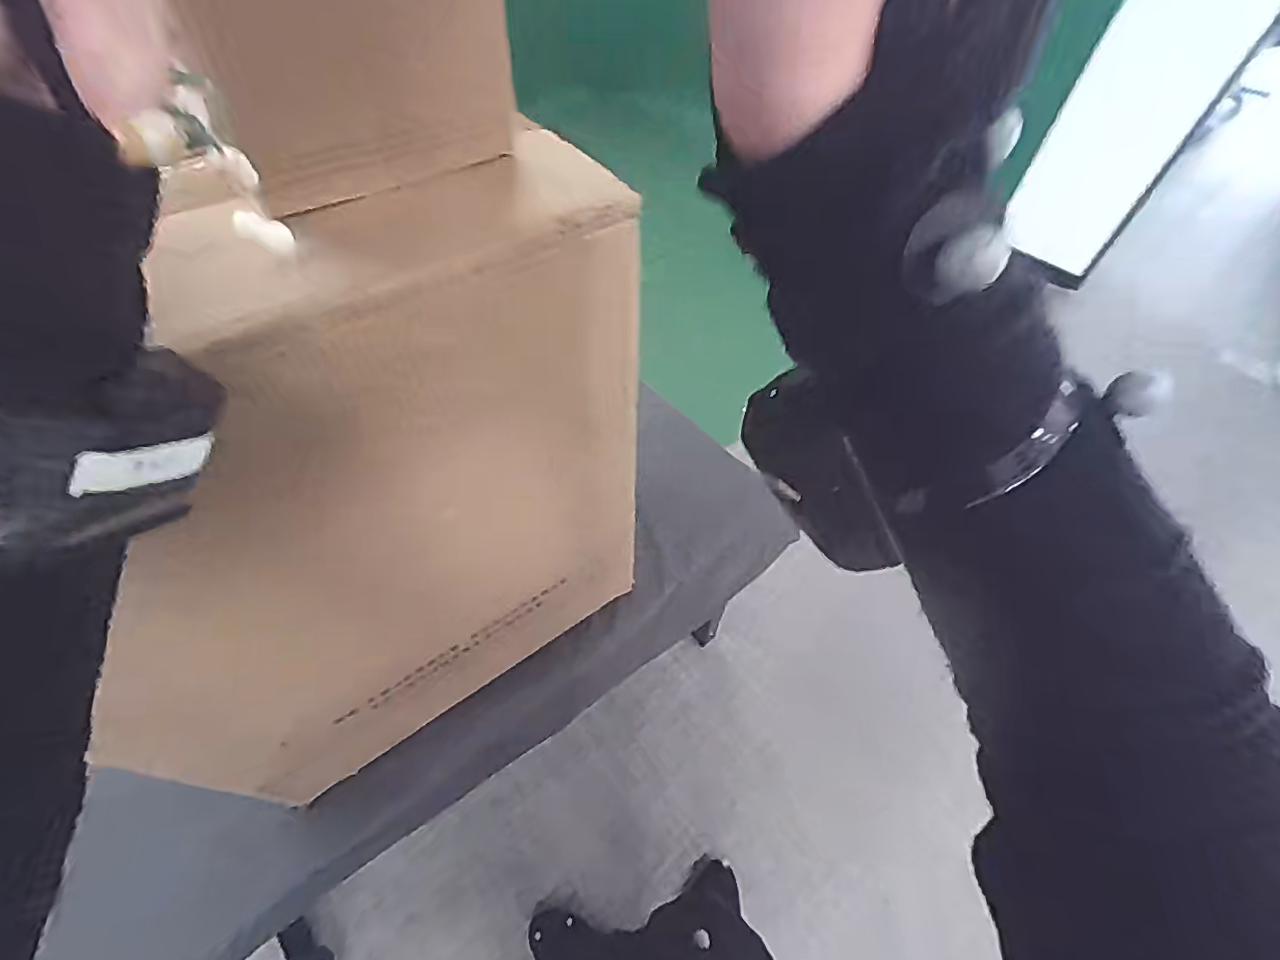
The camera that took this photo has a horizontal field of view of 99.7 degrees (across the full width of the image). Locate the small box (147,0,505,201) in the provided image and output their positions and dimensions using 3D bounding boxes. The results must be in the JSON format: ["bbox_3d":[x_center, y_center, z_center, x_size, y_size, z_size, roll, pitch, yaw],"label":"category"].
[{"bbox_3d":[-0.206,-0.306,0.344,0.179,0.176,0.168,-30,63,-25],"label":"small box"}]
